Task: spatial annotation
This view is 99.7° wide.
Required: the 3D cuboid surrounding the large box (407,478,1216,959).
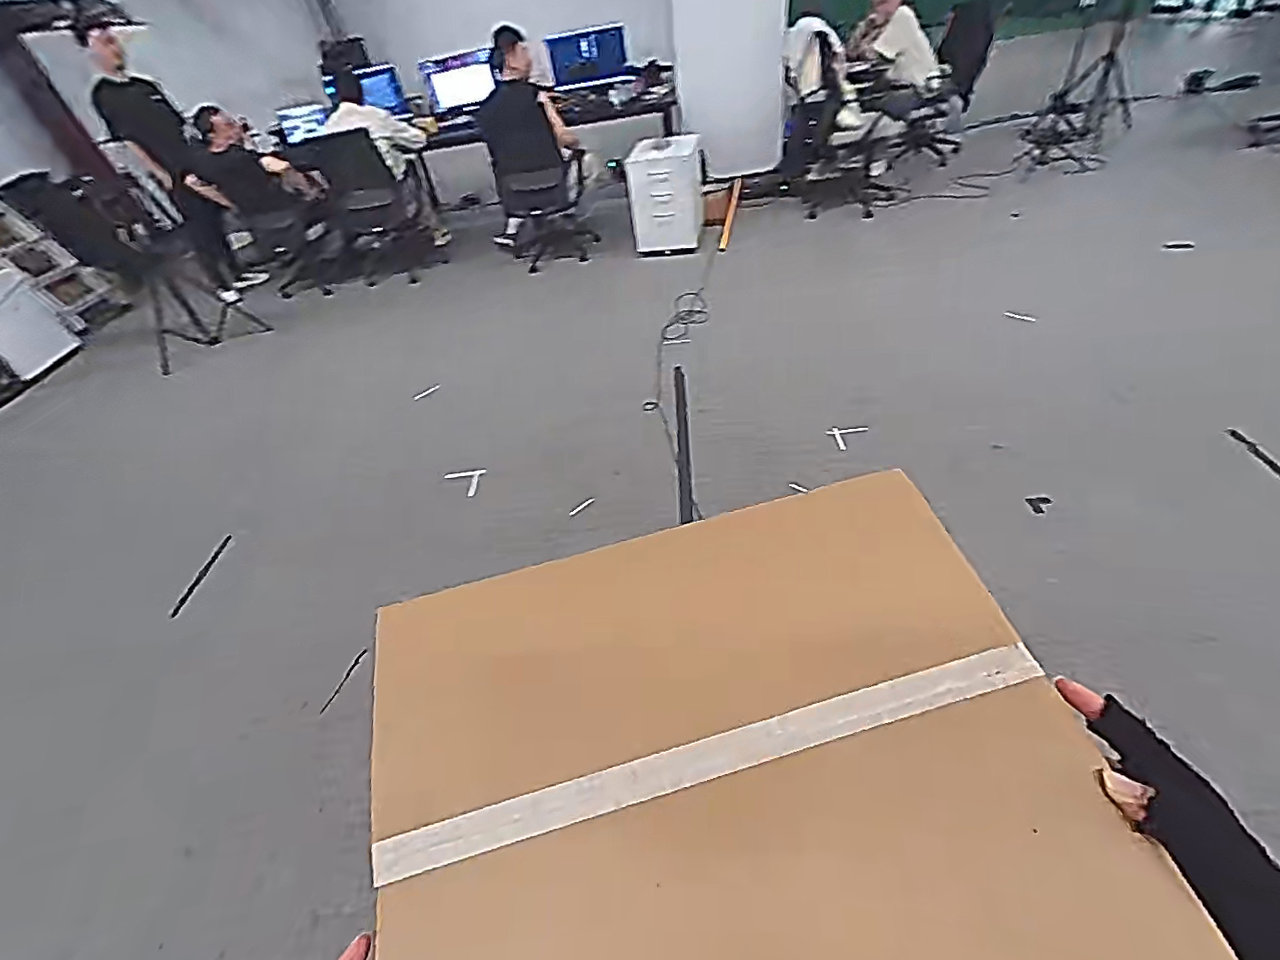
[{"bbox_3d":[0.066,0.253,0.453,0.408,0.320,0.320,-15,56,-4],"label":"large box"}]
